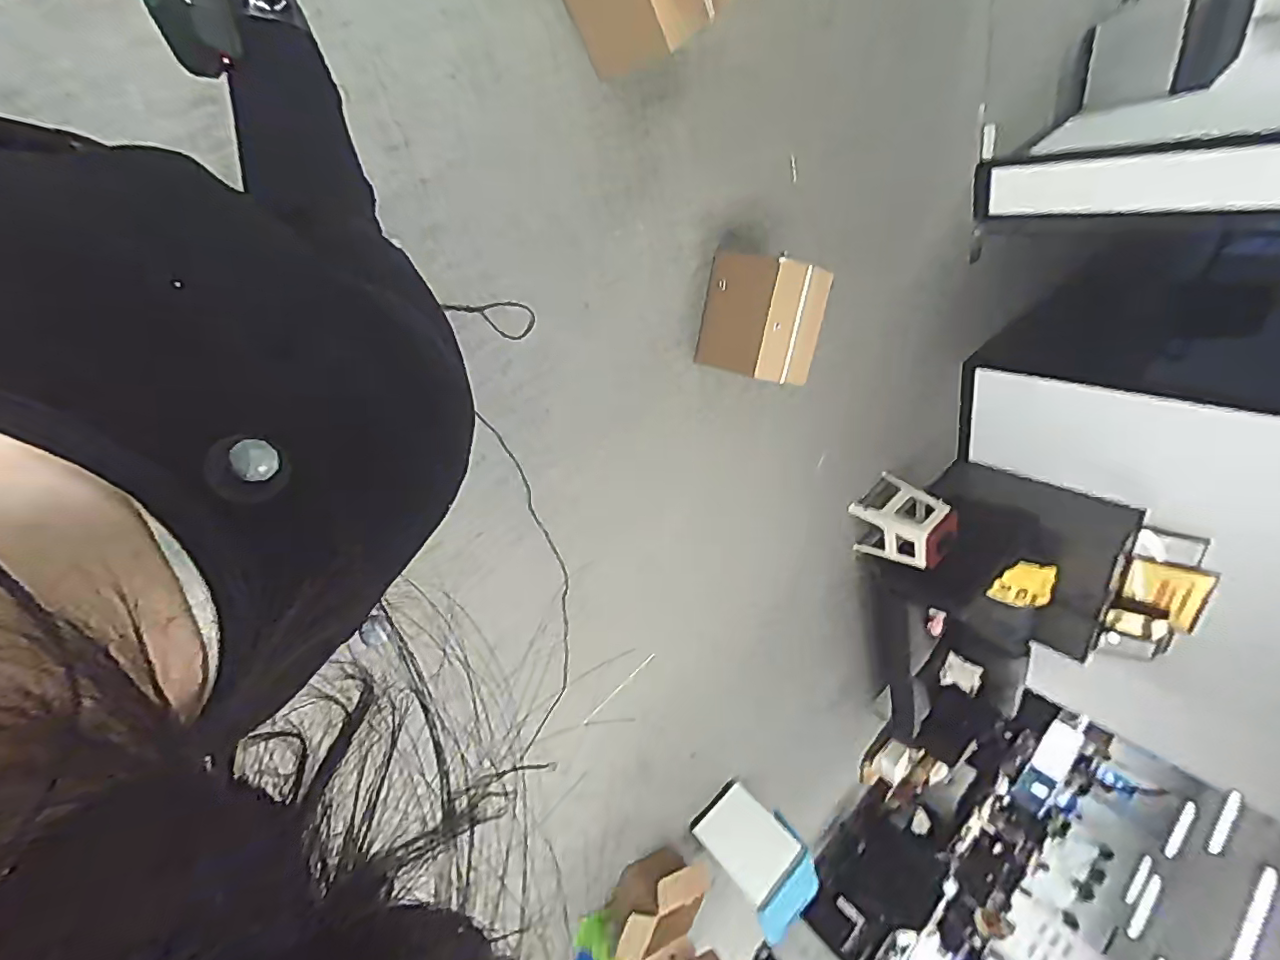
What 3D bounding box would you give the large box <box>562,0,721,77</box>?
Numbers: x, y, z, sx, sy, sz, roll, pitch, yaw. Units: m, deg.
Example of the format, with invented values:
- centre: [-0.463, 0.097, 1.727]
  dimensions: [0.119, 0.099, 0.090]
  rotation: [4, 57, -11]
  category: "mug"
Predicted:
- centre: [-0.021, -1.296, 1.296]
  dimensions: [0.320, 0.320, 0.408]
  rotation: [-50, 131, -13]
  category: "large box"
